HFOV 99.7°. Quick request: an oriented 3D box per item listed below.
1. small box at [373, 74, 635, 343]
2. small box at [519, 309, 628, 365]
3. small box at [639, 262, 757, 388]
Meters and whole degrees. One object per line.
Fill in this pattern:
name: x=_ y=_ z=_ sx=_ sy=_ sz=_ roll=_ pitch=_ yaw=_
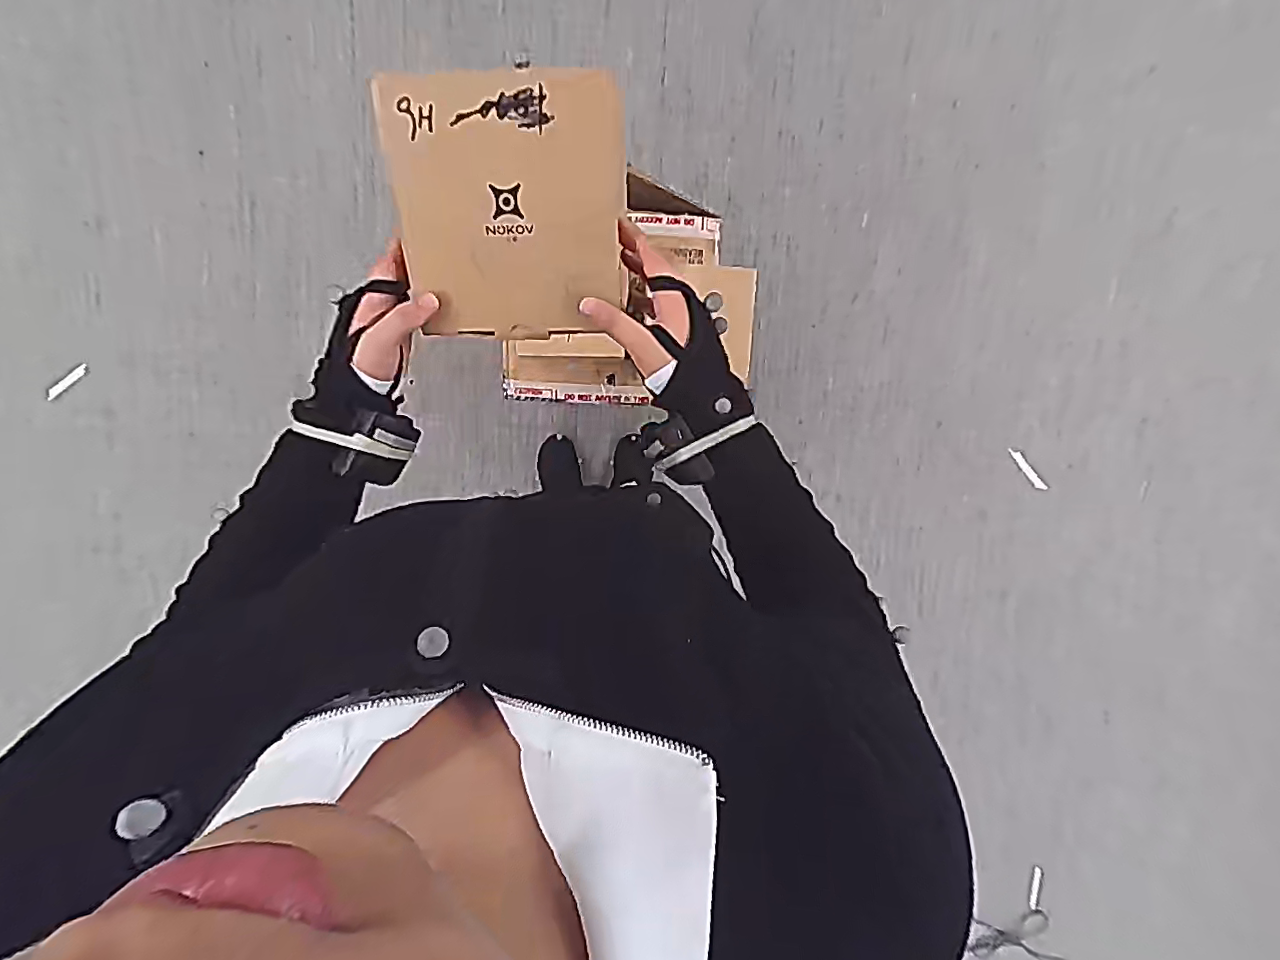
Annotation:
small box: x=-0.091 y=-0.227 z=0.463 sx=0.168 sy=0.176 sz=0.179 roll=-1 pitch=120 yaw=2
small box: x=-0.103 y=-0.283 z=0.886 sx=0.168 sy=0.176 sz=0.179 roll=0 pitch=100 yaw=-1
small box: x=0.087 y=-0.247 z=0.900 sx=0.168 sy=0.176 sz=0.179 roll=2 pitch=99 yaw=-4
